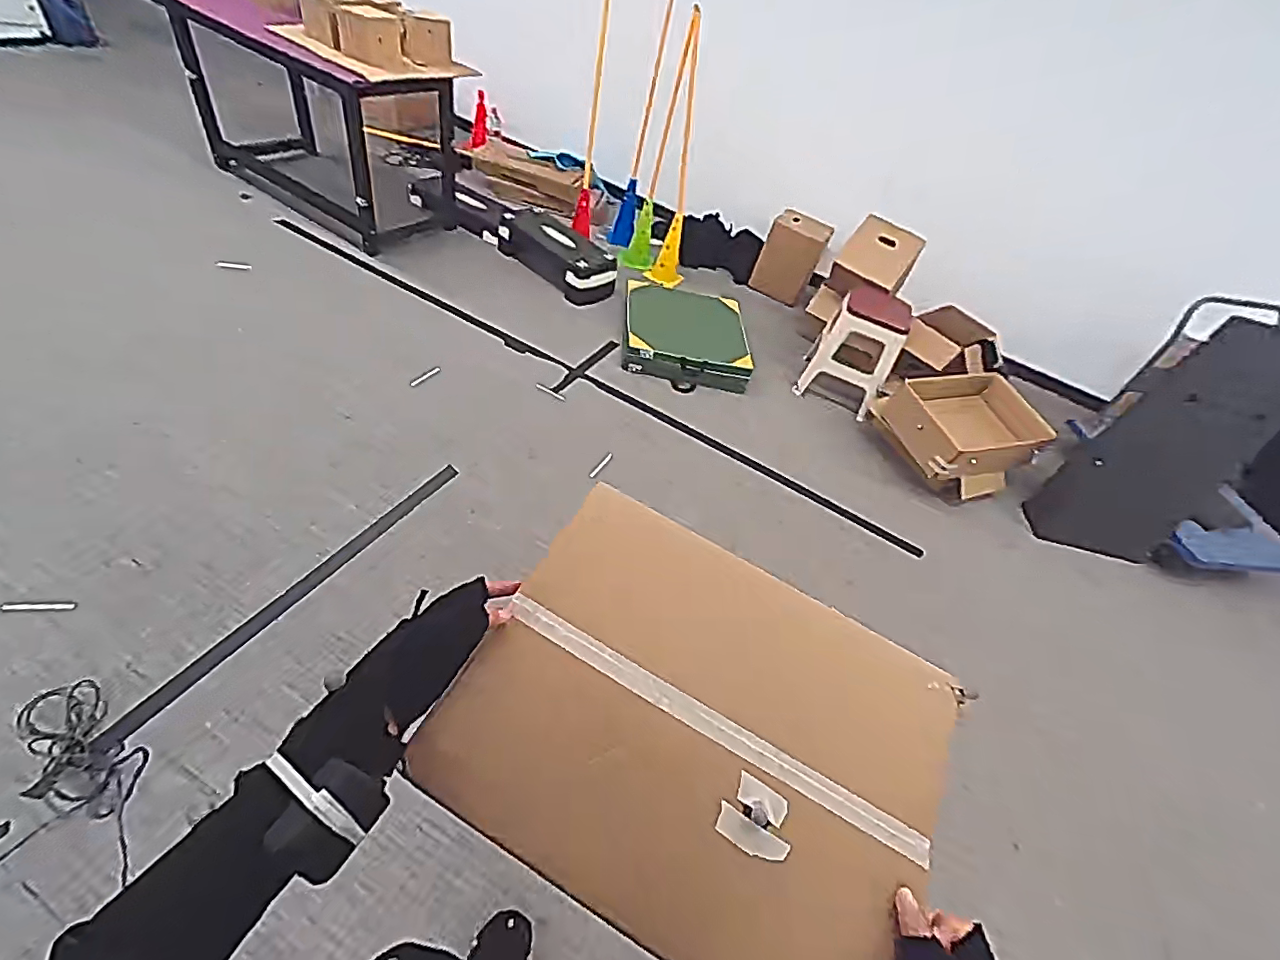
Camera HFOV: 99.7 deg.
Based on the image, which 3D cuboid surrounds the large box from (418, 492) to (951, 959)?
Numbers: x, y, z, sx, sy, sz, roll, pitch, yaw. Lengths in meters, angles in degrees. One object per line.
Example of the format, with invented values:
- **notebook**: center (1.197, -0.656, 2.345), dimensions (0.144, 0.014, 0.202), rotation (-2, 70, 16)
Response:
- **large box**: center (0.040, 0.287, 0.607), dimensions (0.408, 0.320, 0.320), rotation (30, 60, 9)
